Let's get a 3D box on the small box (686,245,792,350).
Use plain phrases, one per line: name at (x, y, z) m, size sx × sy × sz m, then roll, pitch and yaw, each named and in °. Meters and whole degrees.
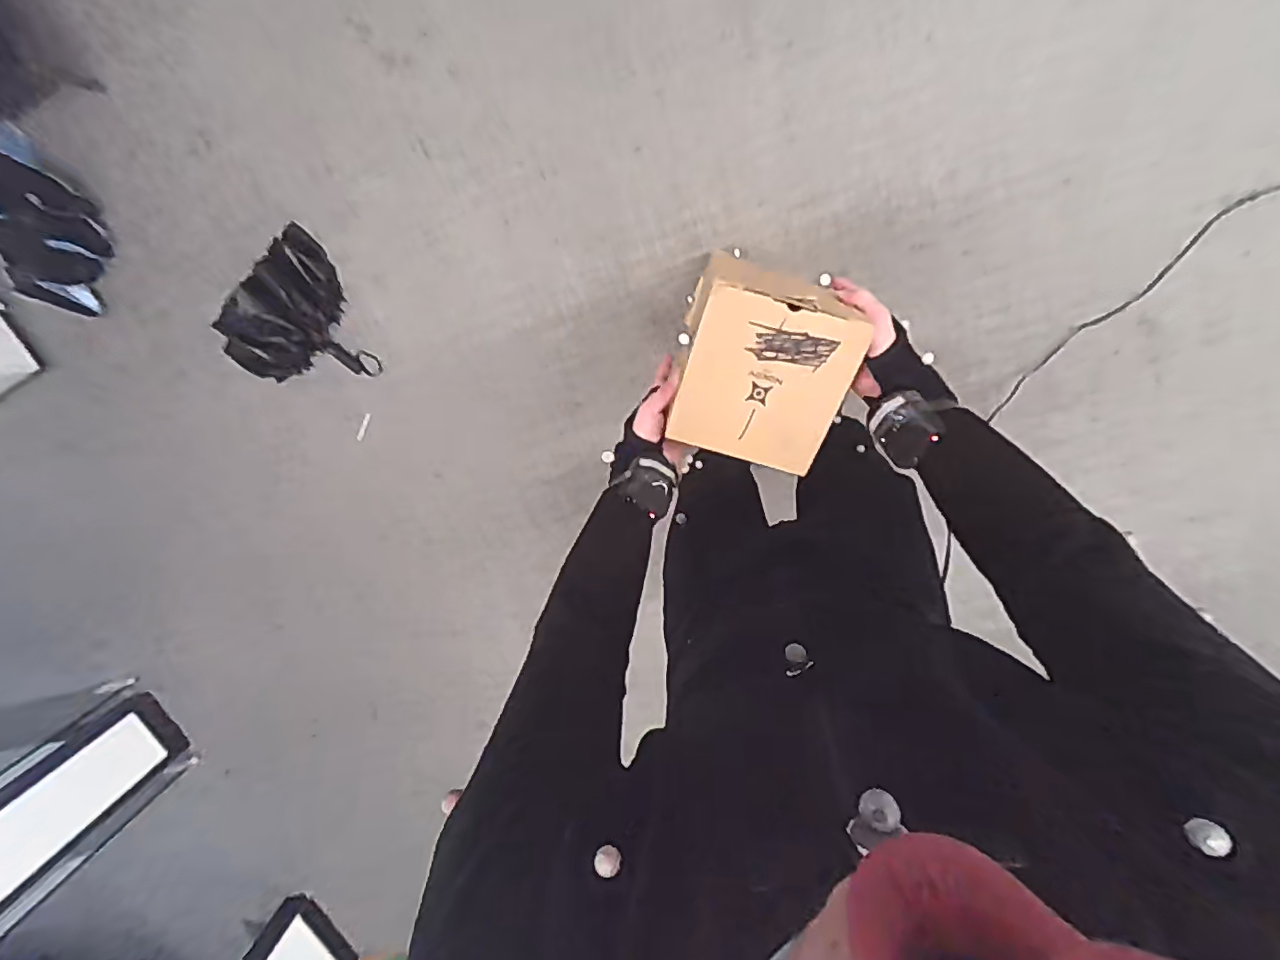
small box at (0.220, -0.415, 1.222) m, size 0.179 × 0.176 × 0.168 m, roll 23°, pitch 115°, yaw -1°
